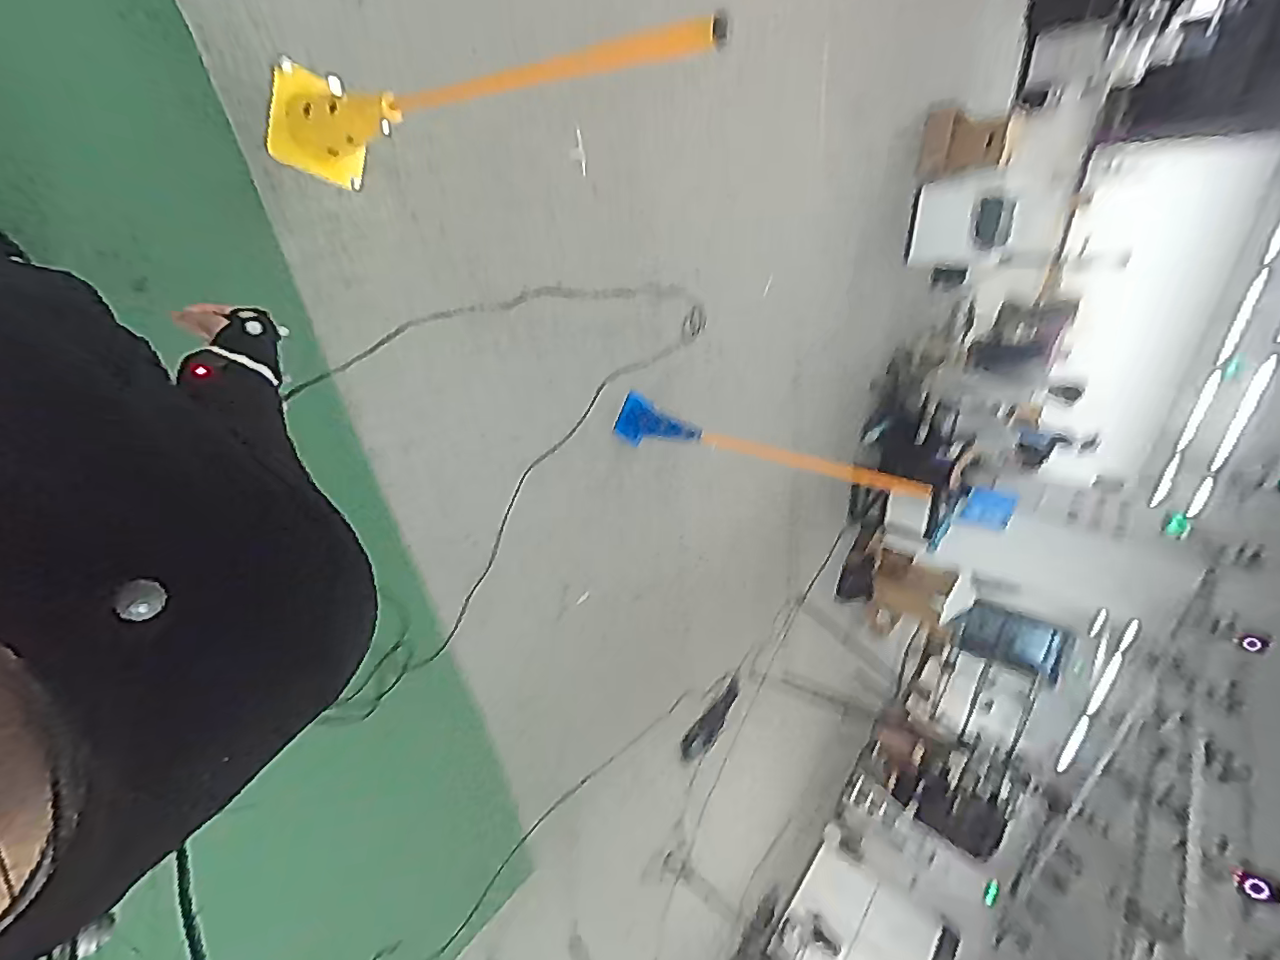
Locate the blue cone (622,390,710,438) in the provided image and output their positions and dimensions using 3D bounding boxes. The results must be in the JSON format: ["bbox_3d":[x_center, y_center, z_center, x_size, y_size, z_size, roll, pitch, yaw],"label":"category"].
[{"bbox_3d":[0.128,-0.244,2.266,0.193,0.380,0.192,25,85,-55],"label":"blue cone"}]
